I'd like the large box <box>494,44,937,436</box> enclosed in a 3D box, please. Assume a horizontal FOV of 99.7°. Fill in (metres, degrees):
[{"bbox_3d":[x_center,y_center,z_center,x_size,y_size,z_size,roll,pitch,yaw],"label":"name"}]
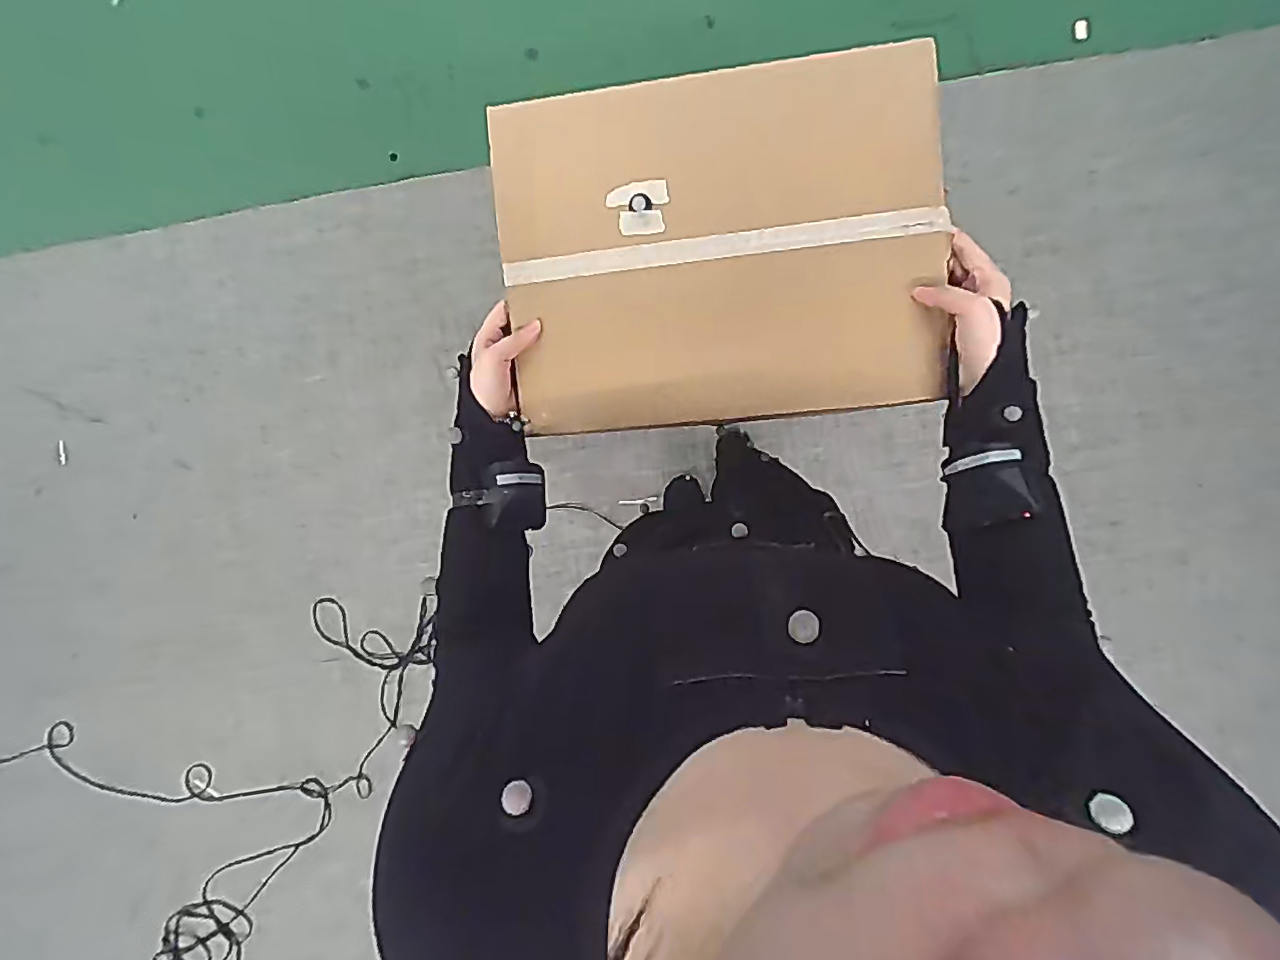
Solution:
[{"bbox_3d":[0.087,-0.232,0.664,0.408,0.320,0.320,-5,94,8],"label":"large box"}]
